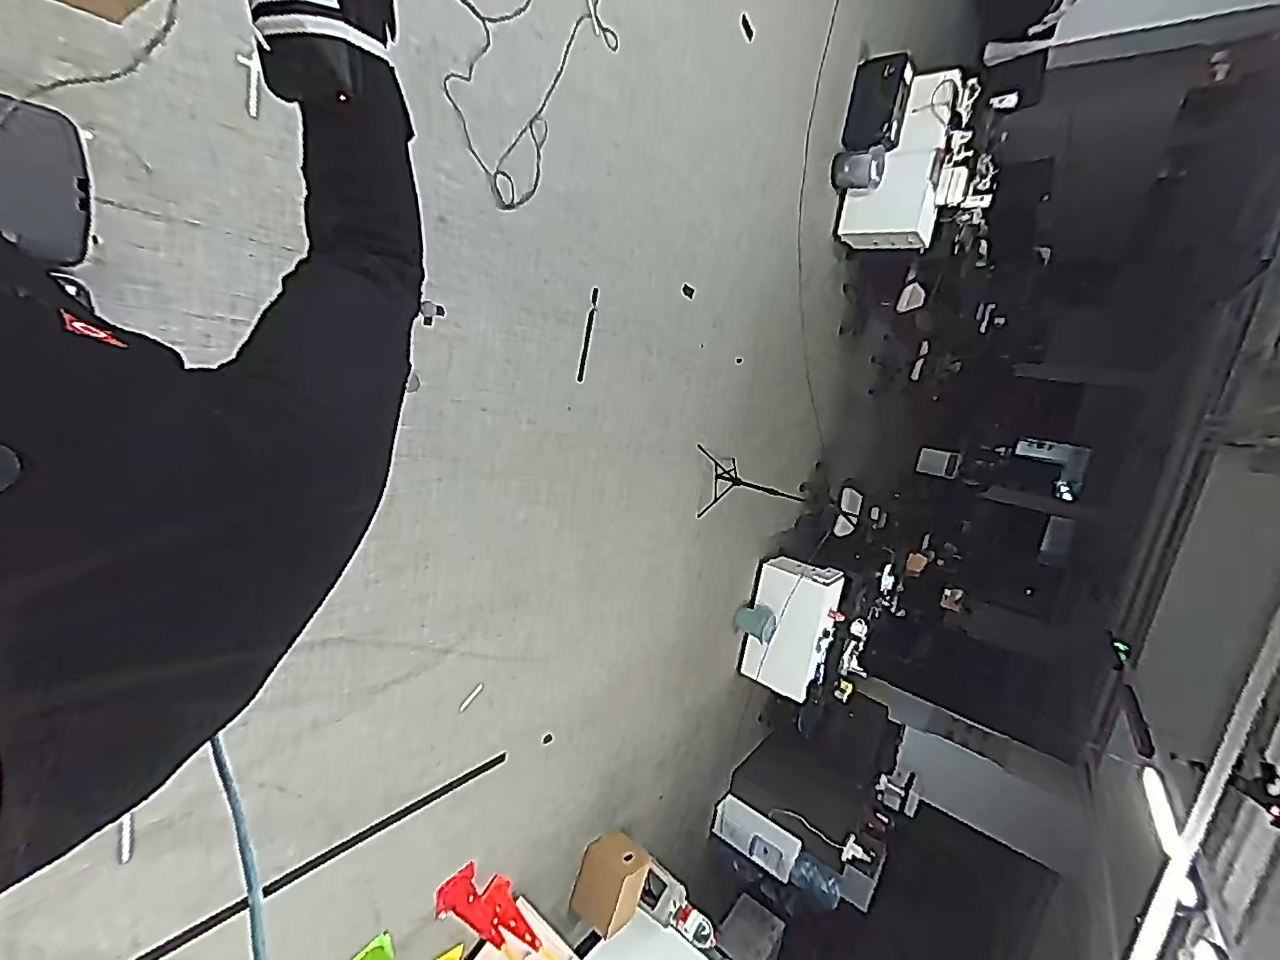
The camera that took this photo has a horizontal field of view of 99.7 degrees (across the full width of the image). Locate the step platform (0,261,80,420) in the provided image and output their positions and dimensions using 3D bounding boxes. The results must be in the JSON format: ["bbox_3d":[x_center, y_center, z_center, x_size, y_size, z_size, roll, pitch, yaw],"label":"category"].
[{"bbox_3d":[-1.346,-0.243,0.825,0.684,0.204,0.286,-7,109,-51],"label":"step platform"}]
